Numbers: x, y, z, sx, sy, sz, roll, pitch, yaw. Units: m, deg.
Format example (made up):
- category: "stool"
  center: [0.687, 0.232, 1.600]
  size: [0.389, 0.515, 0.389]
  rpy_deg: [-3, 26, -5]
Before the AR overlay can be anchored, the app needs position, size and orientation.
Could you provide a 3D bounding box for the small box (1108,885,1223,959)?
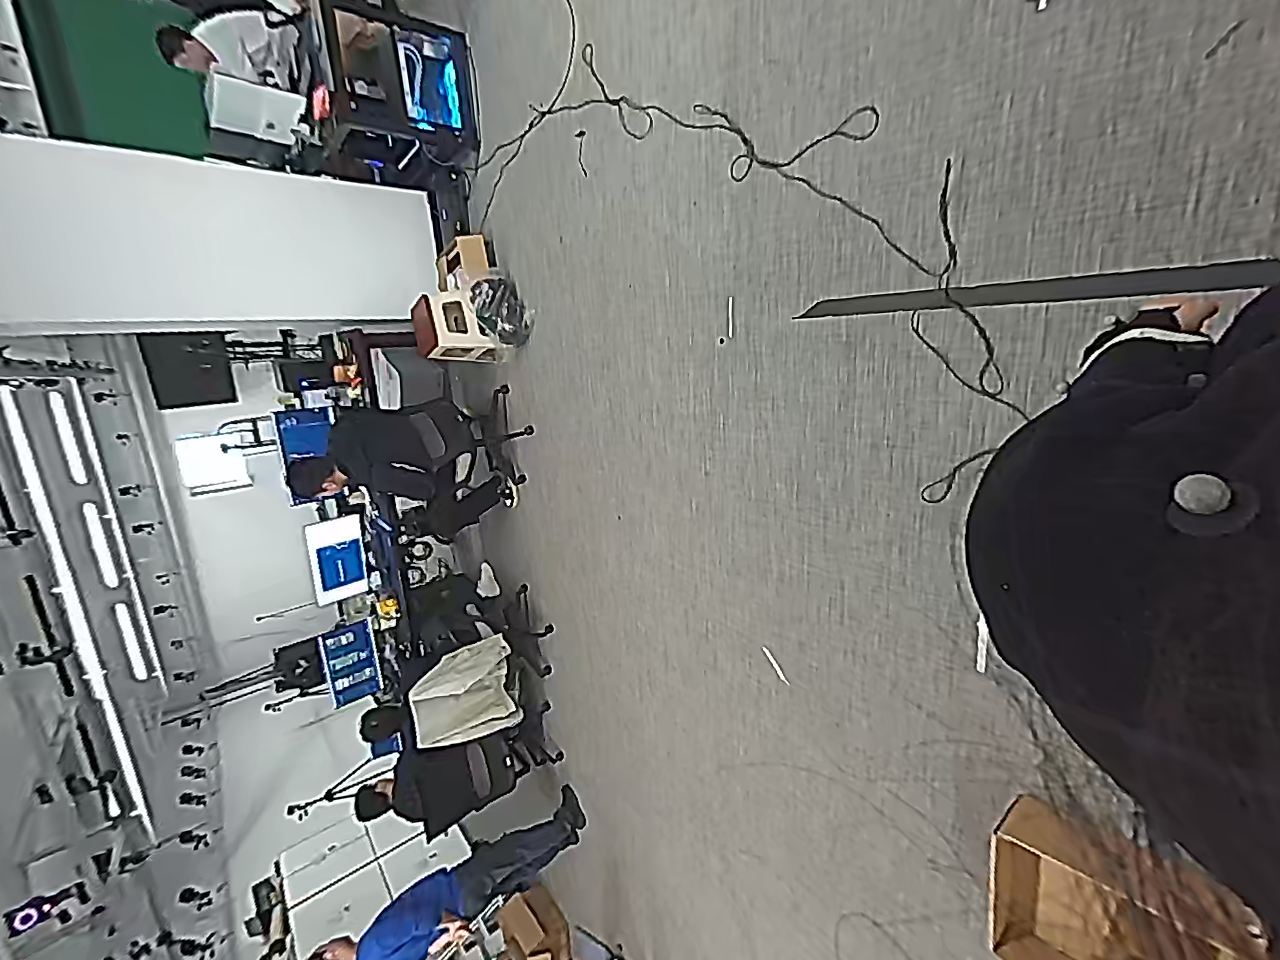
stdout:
- category: "small box"
  center: [1.161, 1.064, 1.193]
  size: [0.168, 0.176, 0.179]
  rpy_deg: [0, 101, 51]
